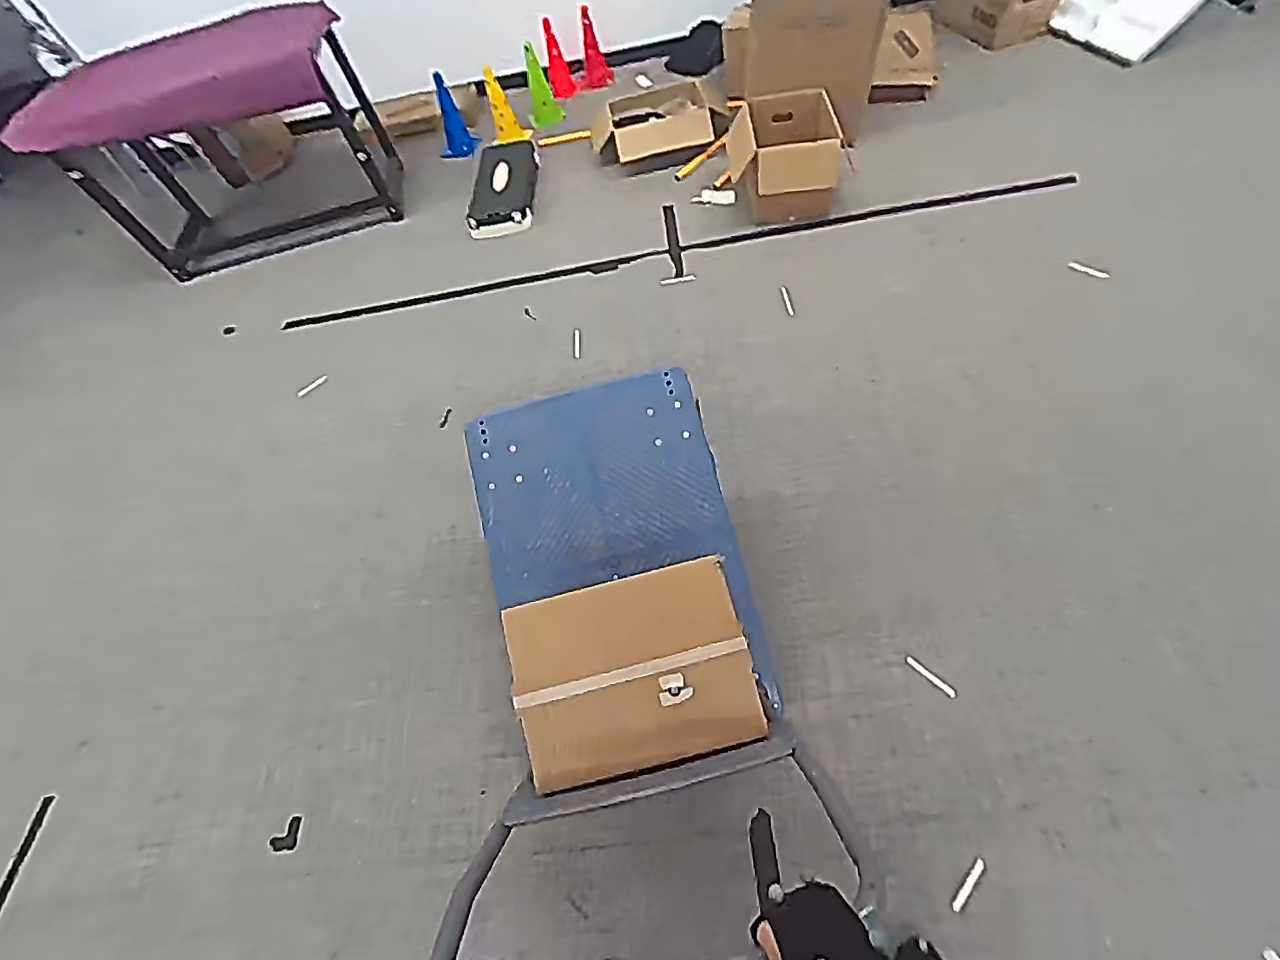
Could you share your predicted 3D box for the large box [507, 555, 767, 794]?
[{"bbox_3d":[-0.007,0.367,1.095,0.408,0.320,0.320,-16,79,-1],"label":"large box"}]
